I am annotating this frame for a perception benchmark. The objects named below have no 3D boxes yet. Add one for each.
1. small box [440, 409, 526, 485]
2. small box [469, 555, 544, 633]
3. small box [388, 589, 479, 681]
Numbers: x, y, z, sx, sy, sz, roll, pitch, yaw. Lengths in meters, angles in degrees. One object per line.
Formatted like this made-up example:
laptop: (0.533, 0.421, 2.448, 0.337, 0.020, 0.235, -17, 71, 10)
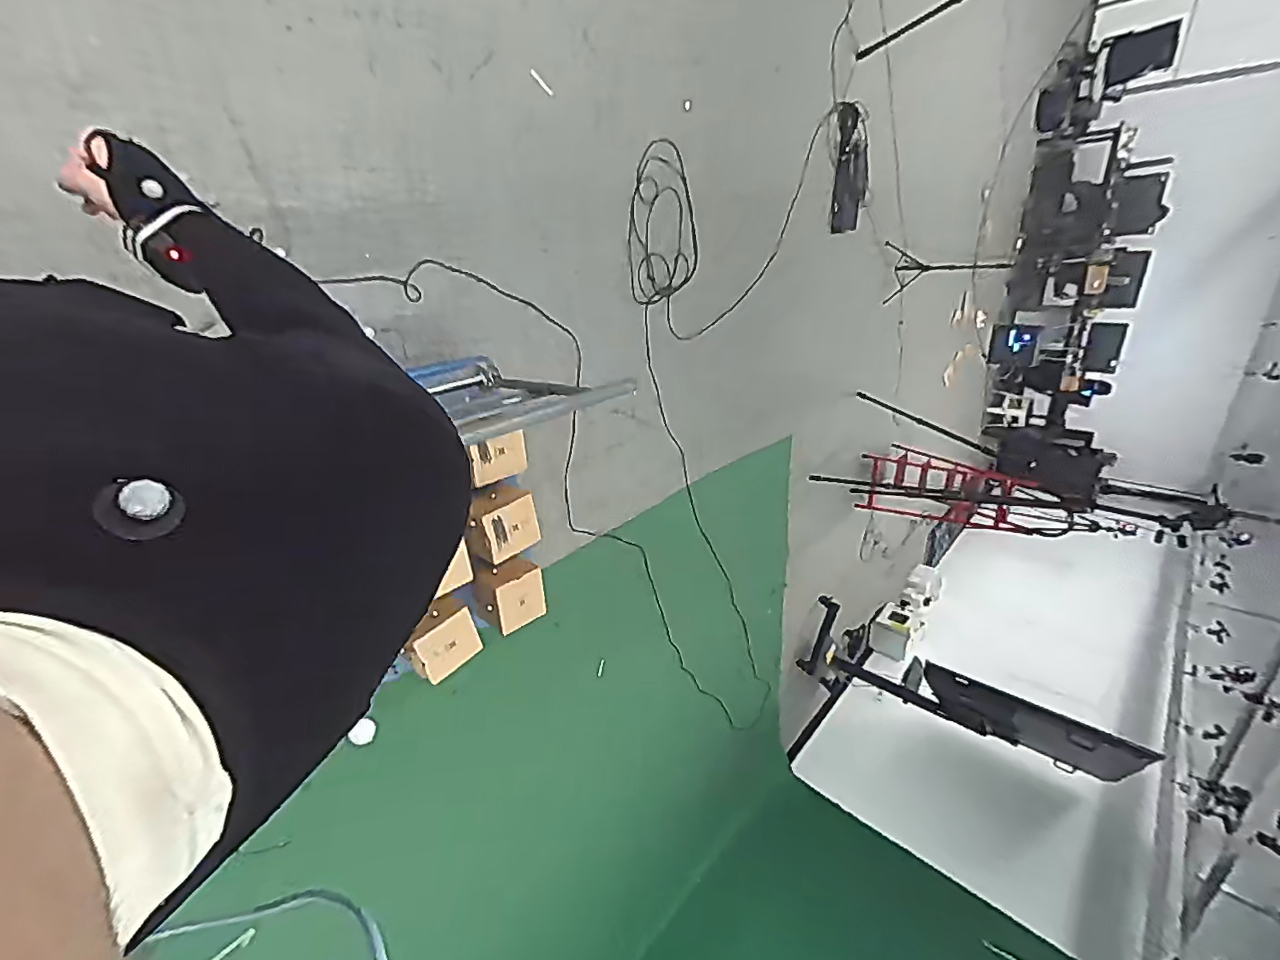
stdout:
small box: (-0.459, -0.101, 1.567, 0.179, 0.176, 0.168, -24, 121, -42)
small box: (-0.437, 0.359, 1.755, 0.168, 0.176, 0.179, -23, 119, -41)
small box: (-0.607, 0.447, 1.591, 0.179, 0.176, 0.168, -26, 119, -39)
